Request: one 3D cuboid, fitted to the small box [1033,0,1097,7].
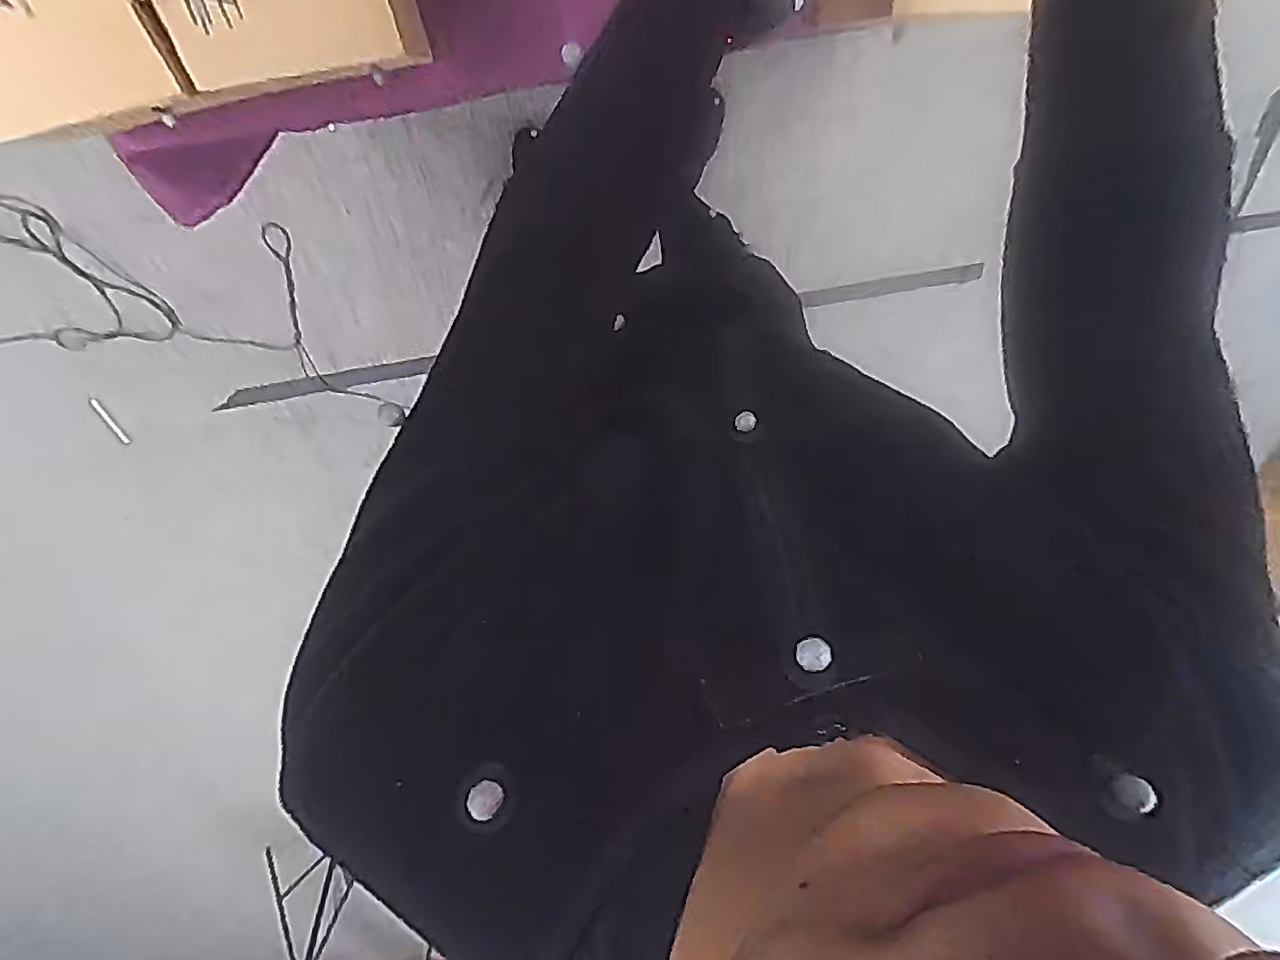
[{"bbox_3d":[0.525,-0.587,0.519,0.168,0.176,0.179,-8,127,-3],"label":"small box"}]
